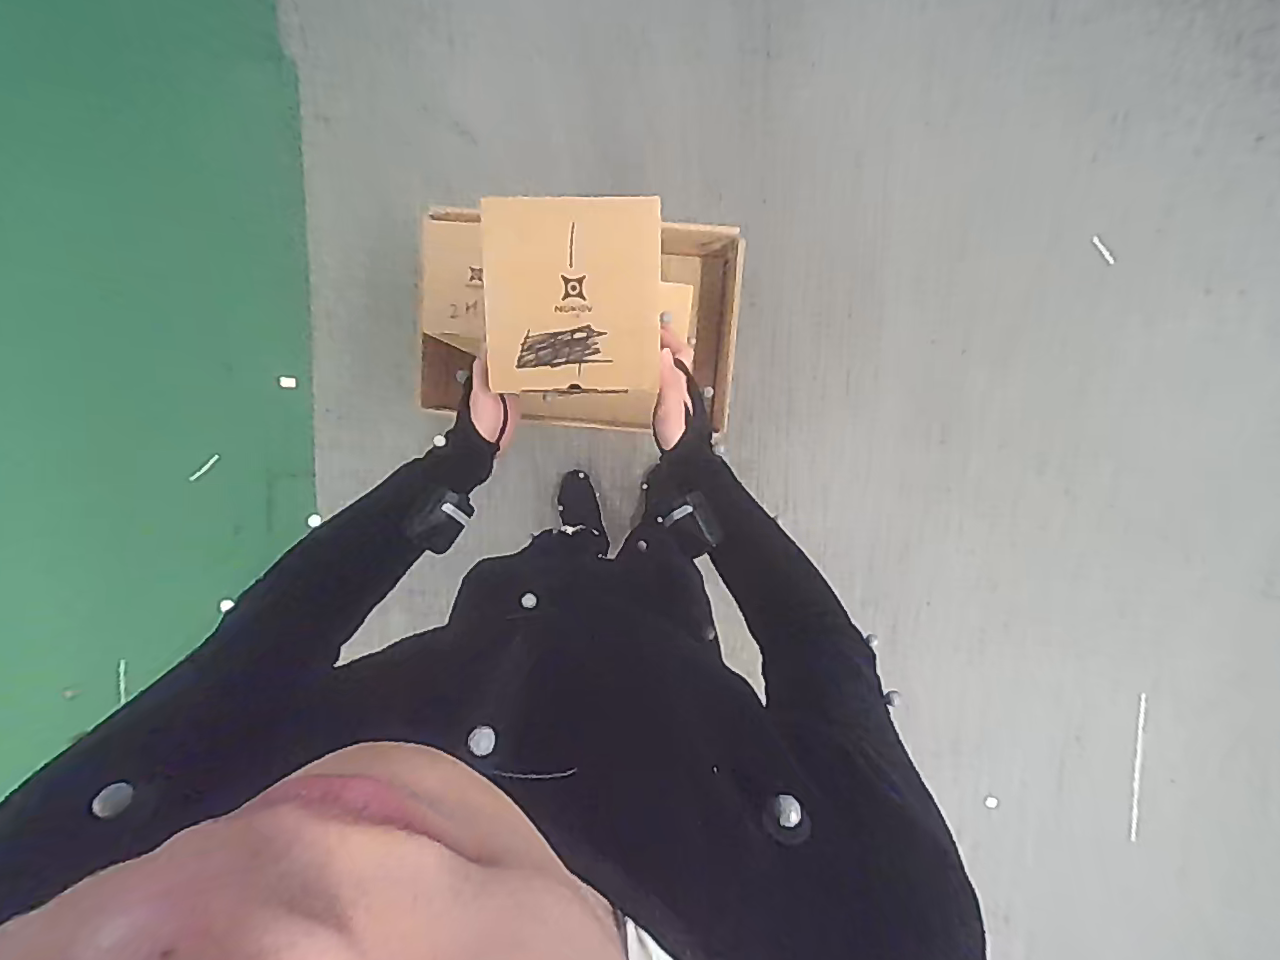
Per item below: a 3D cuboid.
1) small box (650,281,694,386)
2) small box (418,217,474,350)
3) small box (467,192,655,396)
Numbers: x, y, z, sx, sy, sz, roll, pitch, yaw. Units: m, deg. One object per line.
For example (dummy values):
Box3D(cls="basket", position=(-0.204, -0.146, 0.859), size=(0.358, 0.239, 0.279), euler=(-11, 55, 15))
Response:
Box3D(cls="small box", position=(0.010, -0.288, 1.079), size=(0.168, 0.176, 0.179), euler=(6, 96, 1))
Box3D(cls="small box", position=(-0.256, -0.317, 0.915), size=(0.168, 0.176, 0.179), euler=(5, 95, 1))
Box3D(cls="small box", position=(-0.068, -0.179, 0.563), size=(0.168, 0.176, 0.179), euler=(0, 100, 1))
